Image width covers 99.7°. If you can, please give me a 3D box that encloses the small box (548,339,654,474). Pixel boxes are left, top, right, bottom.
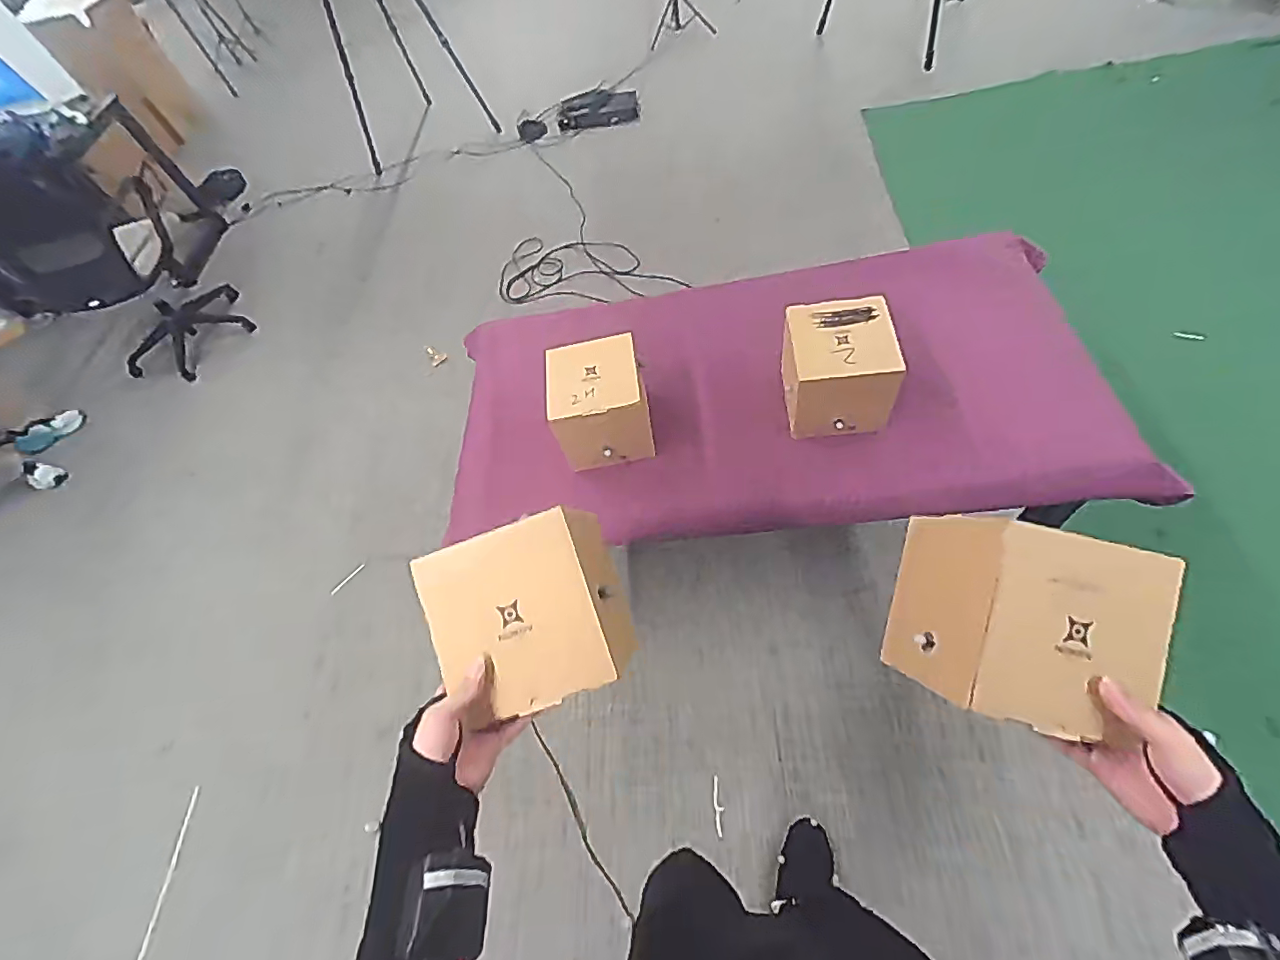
[{"bbox_3d":[-0.072,-0.136,1.033,0.168,0.176,0.179,-11,57,6],"label":"small box"}]

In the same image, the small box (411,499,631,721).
[{"bbox_3d":[-0.119,0.135,0.603,0.168,0.176,0.179,-20,82,3],"label":"small box"}]

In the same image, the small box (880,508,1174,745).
[{"bbox_3d":[0.371,0.132,0.553,0.168,0.176,0.179,14,86,0],"label":"small box"}]
